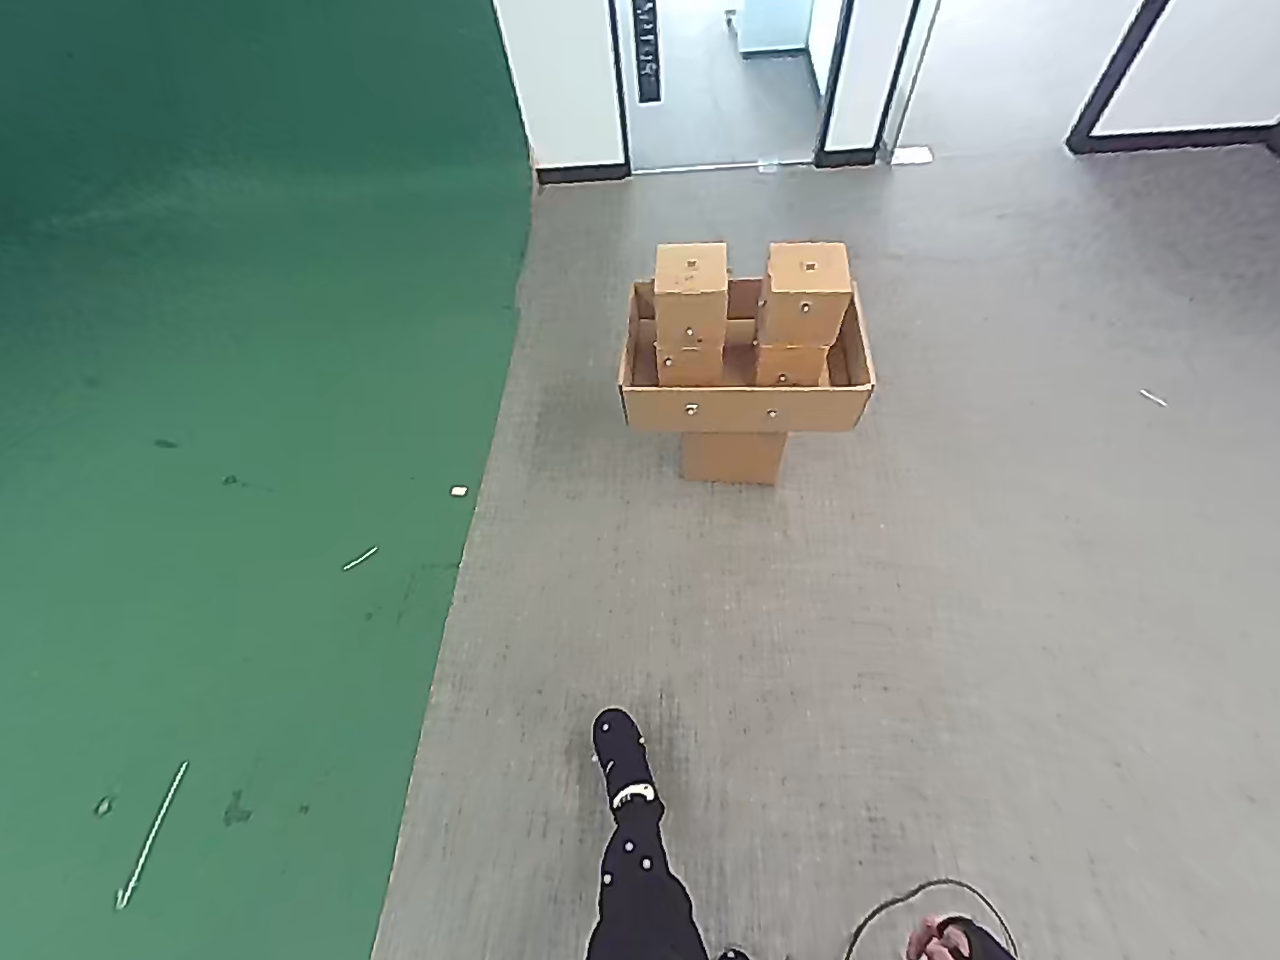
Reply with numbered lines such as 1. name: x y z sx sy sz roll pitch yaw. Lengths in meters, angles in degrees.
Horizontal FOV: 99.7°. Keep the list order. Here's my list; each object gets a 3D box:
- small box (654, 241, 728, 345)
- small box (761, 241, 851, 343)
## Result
1. small box: 0.123 -0.450 1.305 0.168 0.176 0.179 1 59 6
2. small box: 0.383 -0.442 1.283 0.179 0.176 0.168 3 61 5
